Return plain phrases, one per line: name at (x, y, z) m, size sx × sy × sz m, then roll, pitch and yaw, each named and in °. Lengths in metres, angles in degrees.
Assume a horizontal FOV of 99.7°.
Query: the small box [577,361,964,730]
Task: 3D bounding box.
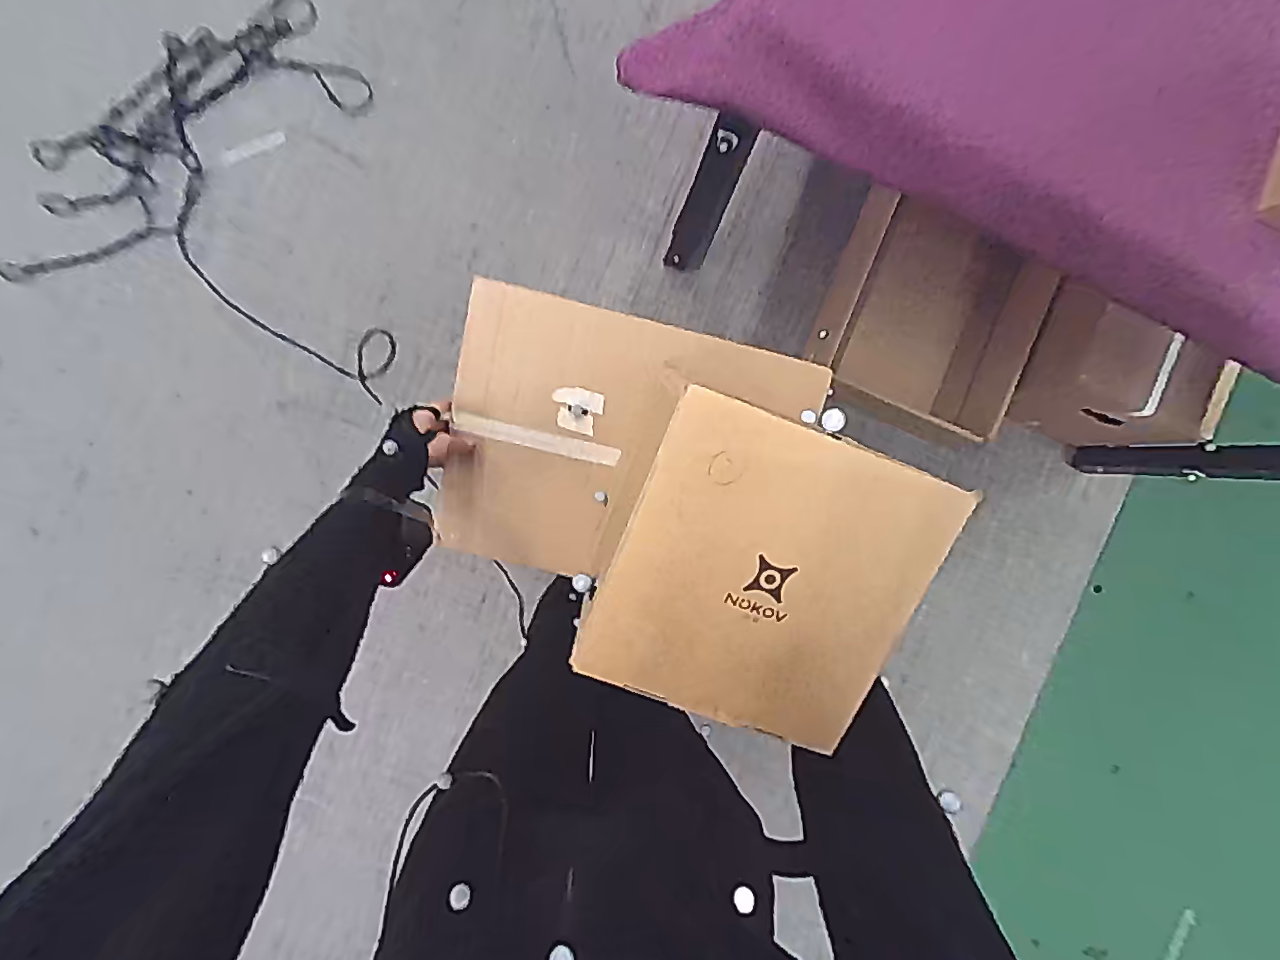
small box at (0.067, 0.026, 0.376) m, size 0.168 × 0.176 × 0.179 m, roll 21°, pitch 104°, yaw -6°
